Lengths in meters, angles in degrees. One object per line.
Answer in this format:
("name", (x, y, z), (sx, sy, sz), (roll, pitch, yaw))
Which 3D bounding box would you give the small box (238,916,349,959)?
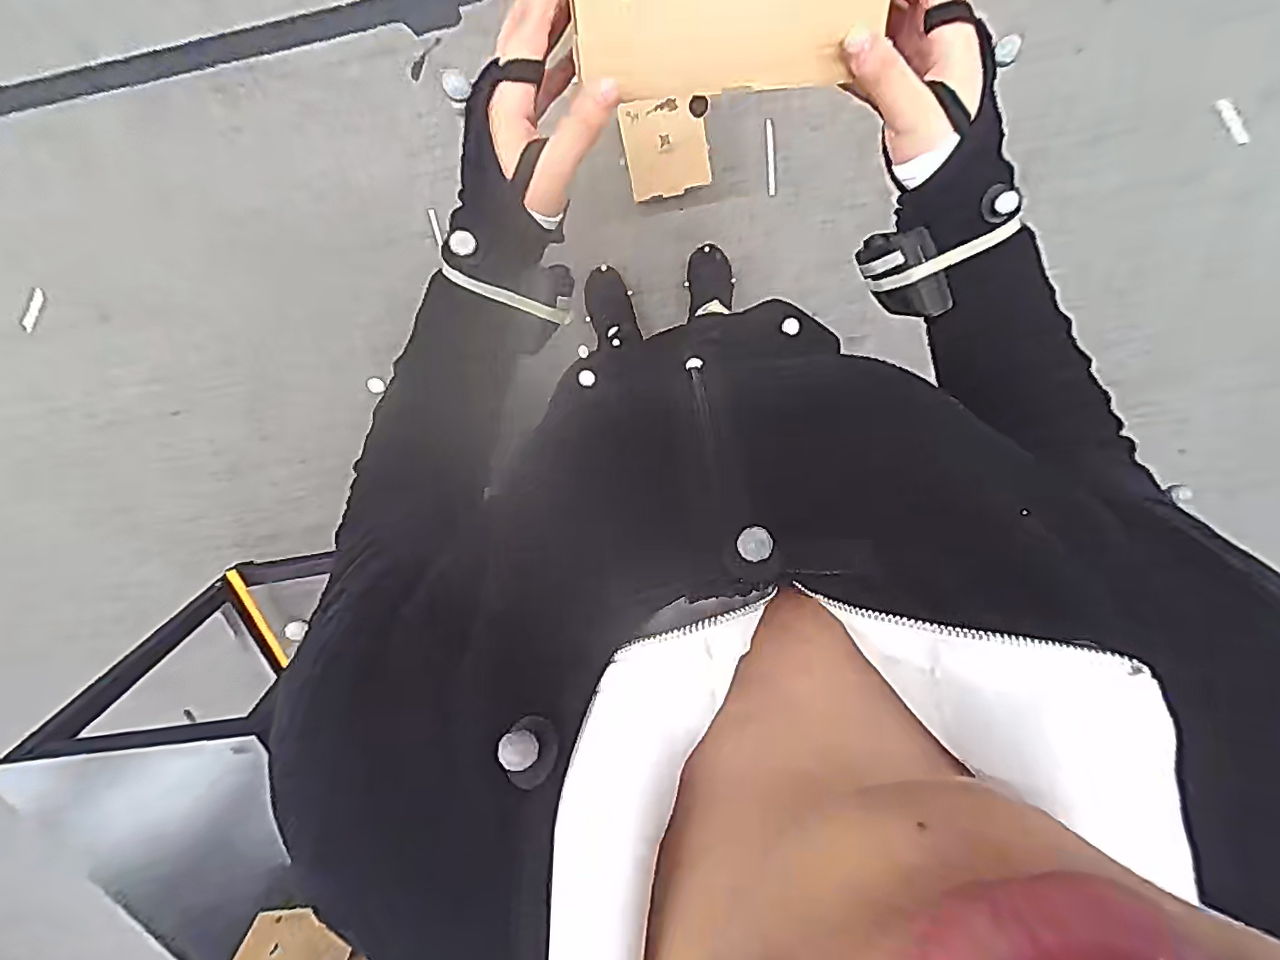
("small box", (-0.800, 1.120, 1.221), (0.168, 0.176, 0.179), (-7, 116, 5))

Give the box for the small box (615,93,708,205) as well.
("small box", (0.047, -0.699, 1.151), (0.168, 0.176, 0.179), (-11, 116, 5))

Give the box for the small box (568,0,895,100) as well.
("small box", (0.043, -0.335, 0.323), (0.179, 0.176, 0.168), (-6, 129, -1))
